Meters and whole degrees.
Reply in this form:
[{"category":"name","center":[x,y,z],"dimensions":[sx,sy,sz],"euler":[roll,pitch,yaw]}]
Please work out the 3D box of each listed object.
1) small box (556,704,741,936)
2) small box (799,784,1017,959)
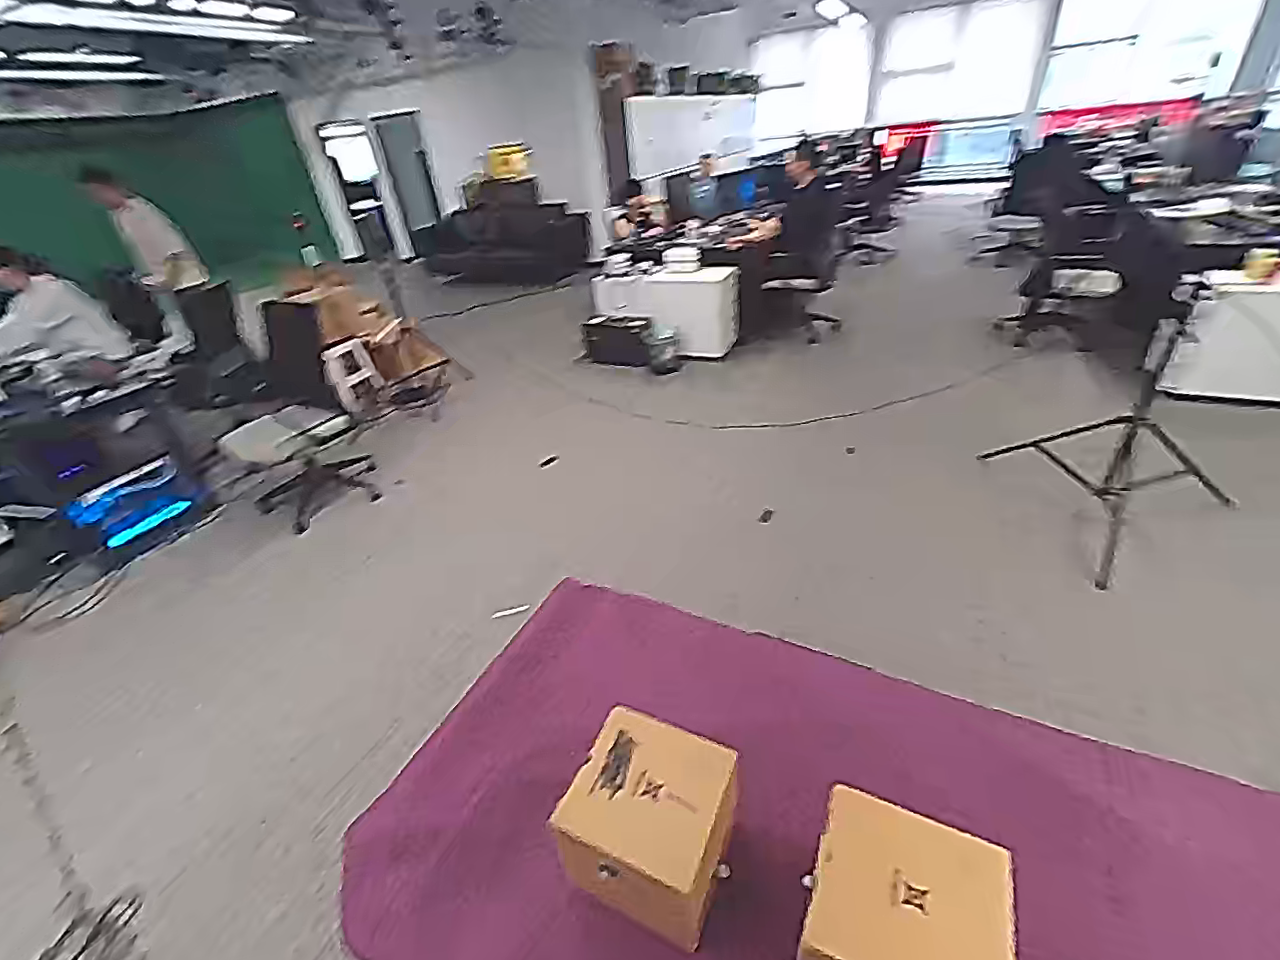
[{"category":"small box","center":[0.020,0.430,0.691],"dimensions":[0.179,0.176,0.168],"euler":[12,37,25]},{"category":"small box","center":[0.278,0.477,0.578],"dimensions":[0.179,0.176,0.168],"euler":[11,37,26]}]
